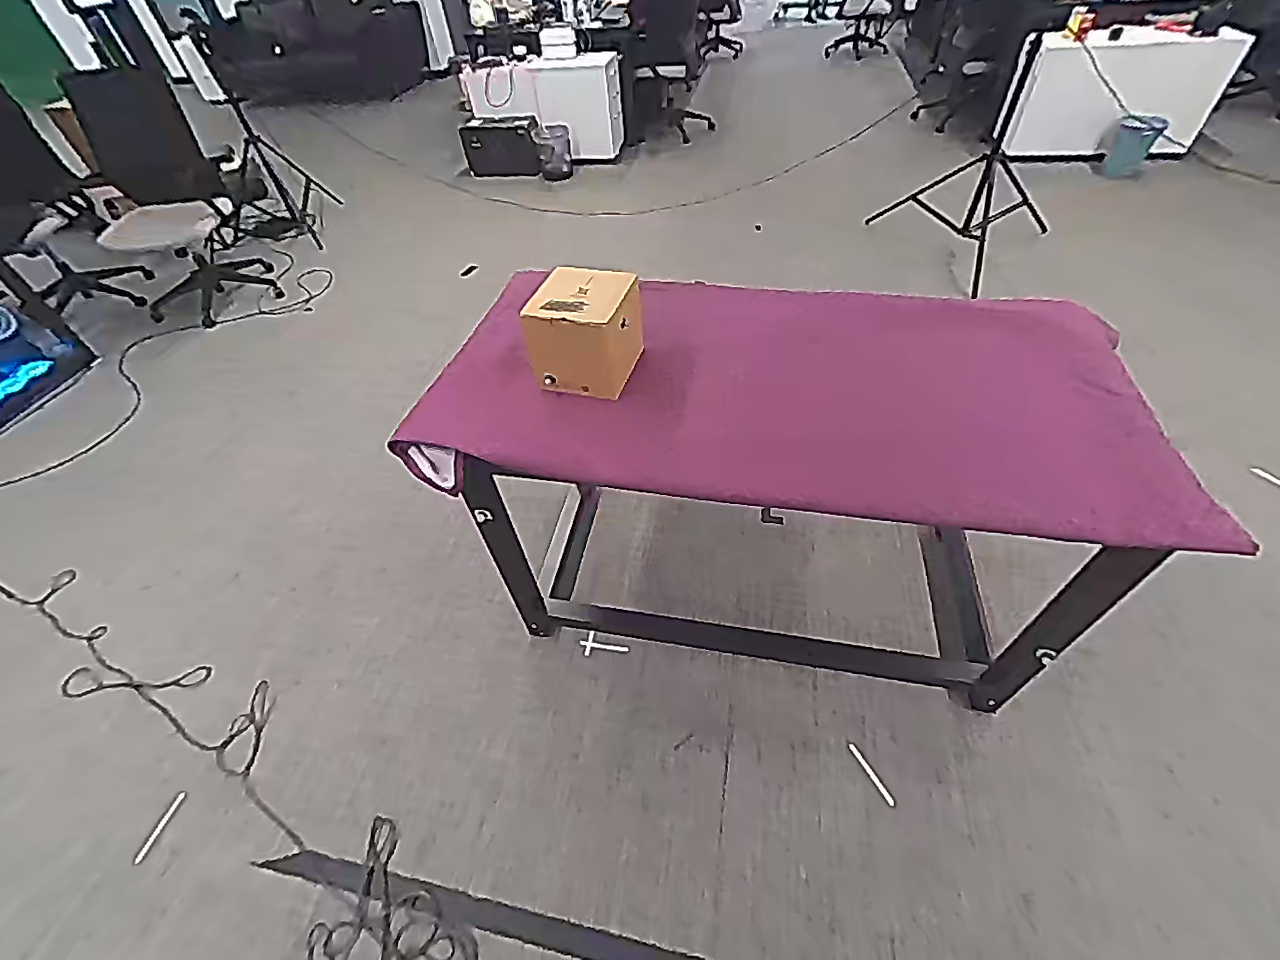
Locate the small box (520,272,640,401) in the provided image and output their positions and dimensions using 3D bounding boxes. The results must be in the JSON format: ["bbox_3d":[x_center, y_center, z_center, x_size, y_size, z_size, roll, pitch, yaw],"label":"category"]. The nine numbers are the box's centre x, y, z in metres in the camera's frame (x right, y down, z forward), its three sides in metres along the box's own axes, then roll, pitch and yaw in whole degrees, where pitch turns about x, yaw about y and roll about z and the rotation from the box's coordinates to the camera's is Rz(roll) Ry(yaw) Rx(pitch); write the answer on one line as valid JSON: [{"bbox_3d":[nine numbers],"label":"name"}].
[{"bbox_3d":[-0.102,-0.273,1.035,0.168,0.176,0.179,11,50,14],"label":"small box"}]
